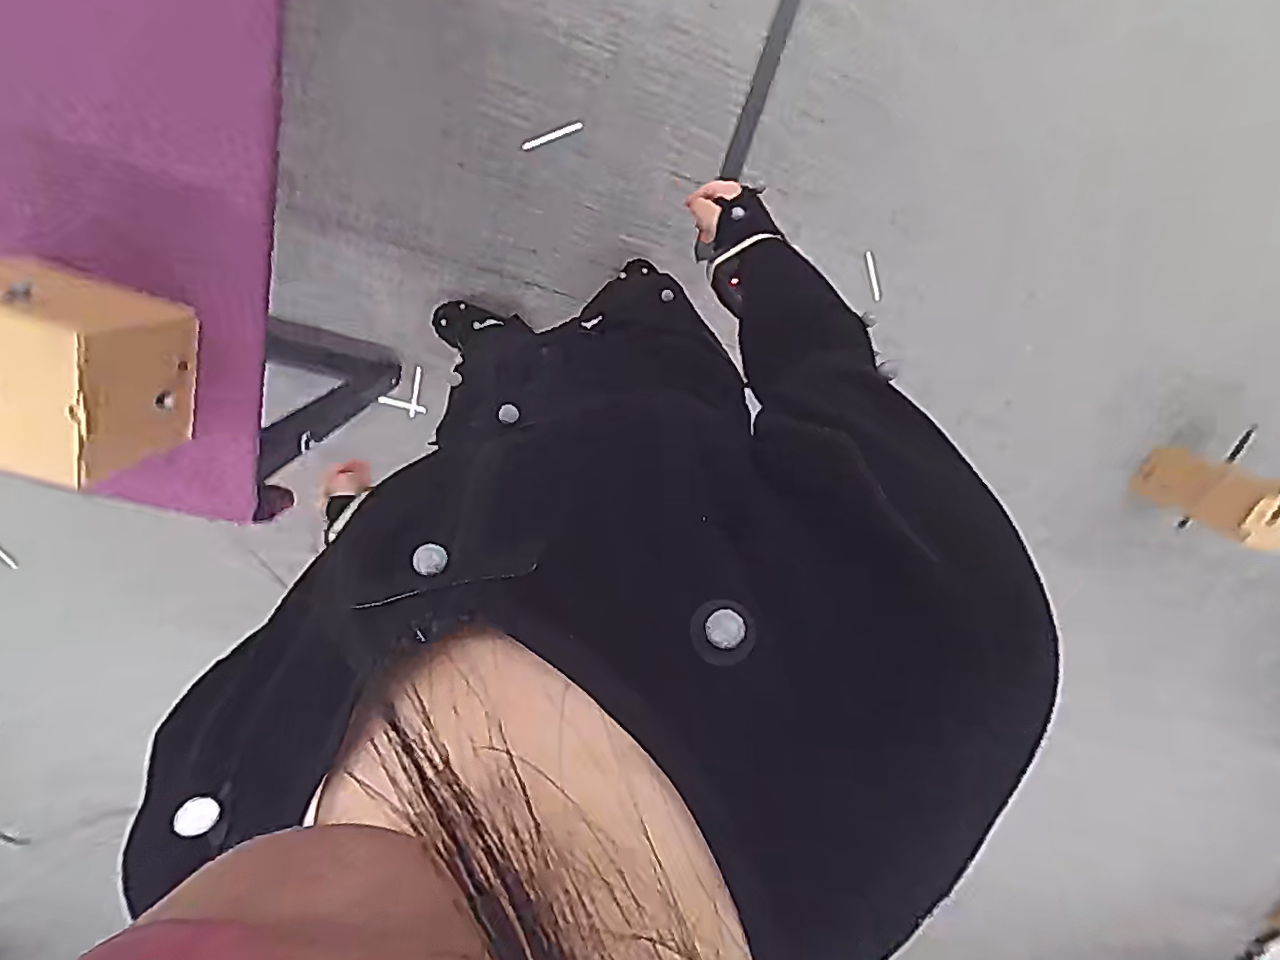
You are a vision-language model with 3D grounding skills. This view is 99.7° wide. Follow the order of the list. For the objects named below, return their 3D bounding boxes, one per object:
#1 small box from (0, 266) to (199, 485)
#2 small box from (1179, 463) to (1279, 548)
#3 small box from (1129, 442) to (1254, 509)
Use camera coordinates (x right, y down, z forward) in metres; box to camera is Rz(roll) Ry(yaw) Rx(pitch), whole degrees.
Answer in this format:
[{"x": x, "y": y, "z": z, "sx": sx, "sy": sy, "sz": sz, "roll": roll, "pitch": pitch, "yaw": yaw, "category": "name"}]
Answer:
[{"x": -0.625, "y": -0.119, "z": 0.575, "sx": 0.179, "sy": 0.176, "sz": 0.168, "roll": 16, "pitch": 110, "yaw": -13, "category": "small box"}, {"x": 1.682, "y": 0.066, "z": 1.502, "sx": 0.179, "sy": 0.176, "sz": 0.168, "roll": 11, "pitch": 112, "yaw": -11, "category": "small box"}, {"x": 1.669, "y": -0.005, "z": 1.650, "sx": 0.179, "sy": 0.176, "sz": 0.168, "roll": 10, "pitch": 113, "yaw": -11, "category": "small box"}]
